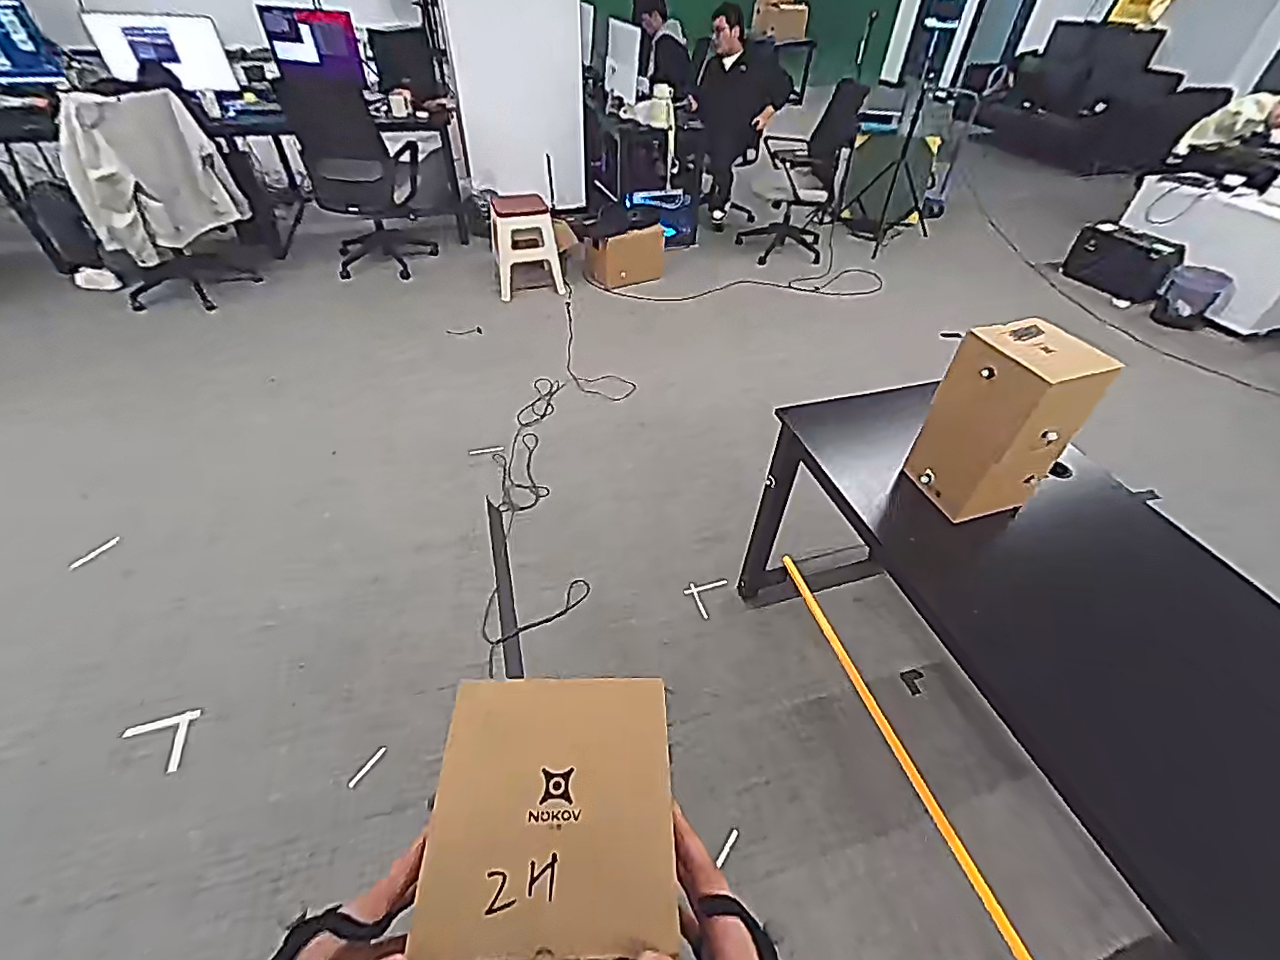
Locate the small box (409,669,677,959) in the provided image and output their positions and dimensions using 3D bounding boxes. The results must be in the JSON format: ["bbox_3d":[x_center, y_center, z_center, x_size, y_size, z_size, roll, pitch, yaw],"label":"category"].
[{"bbox_3d":[-0.064,0.274,0.440,0.168,0.176,0.179,1,46,-3],"label":"small box"}]

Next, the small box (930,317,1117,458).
[{"bbox_3d":[0.660,-0.166,0.958,0.168,0.176,0.179,-14,46,-16],"label":"small box"}]

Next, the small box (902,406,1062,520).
[{"bbox_3d":[0.663,-0.047,1.073,0.179,0.176,0.168,-13,45,-14],"label":"small box"}]
